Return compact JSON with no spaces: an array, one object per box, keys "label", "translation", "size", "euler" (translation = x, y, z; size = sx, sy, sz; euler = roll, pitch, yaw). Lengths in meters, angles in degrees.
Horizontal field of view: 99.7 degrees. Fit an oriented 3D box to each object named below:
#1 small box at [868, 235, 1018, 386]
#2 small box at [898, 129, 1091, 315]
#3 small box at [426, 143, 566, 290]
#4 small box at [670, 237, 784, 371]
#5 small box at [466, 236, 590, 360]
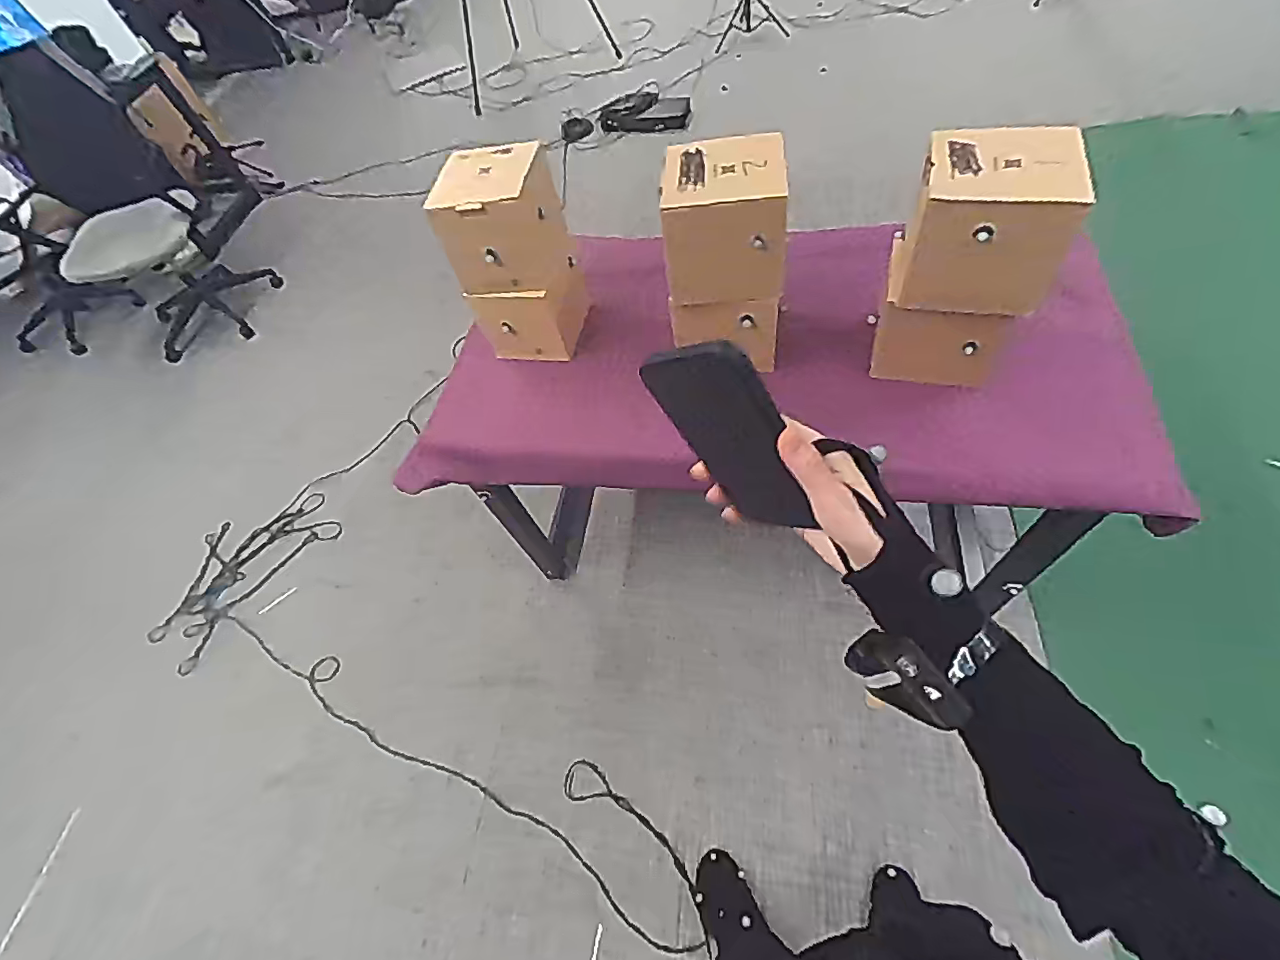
[{"label":"small box","translation":[0.487,-0.273,0.884],"size":[0.179,0.176,0.168],"euler":[10,60,18]},{"label":"small box","translation":[0.464,-0.347,0.739],"size":[0.179,0.176,0.168],"euler":[10,60,17]},{"label":"small box","translation":[-0.239,-0.452,0.950],"size":[0.168,0.176,0.179],"euler":[1,59,11]},{"label":"small box","translation":[0.161,-0.312,0.974],"size":[0.179,0.176,0.168],"euler":[4,59,14]},{"label":"small box","translation":[-0.212,-0.358,1.082],"size":[0.168,0.176,0.179],"euler":[5,59,15]}]
